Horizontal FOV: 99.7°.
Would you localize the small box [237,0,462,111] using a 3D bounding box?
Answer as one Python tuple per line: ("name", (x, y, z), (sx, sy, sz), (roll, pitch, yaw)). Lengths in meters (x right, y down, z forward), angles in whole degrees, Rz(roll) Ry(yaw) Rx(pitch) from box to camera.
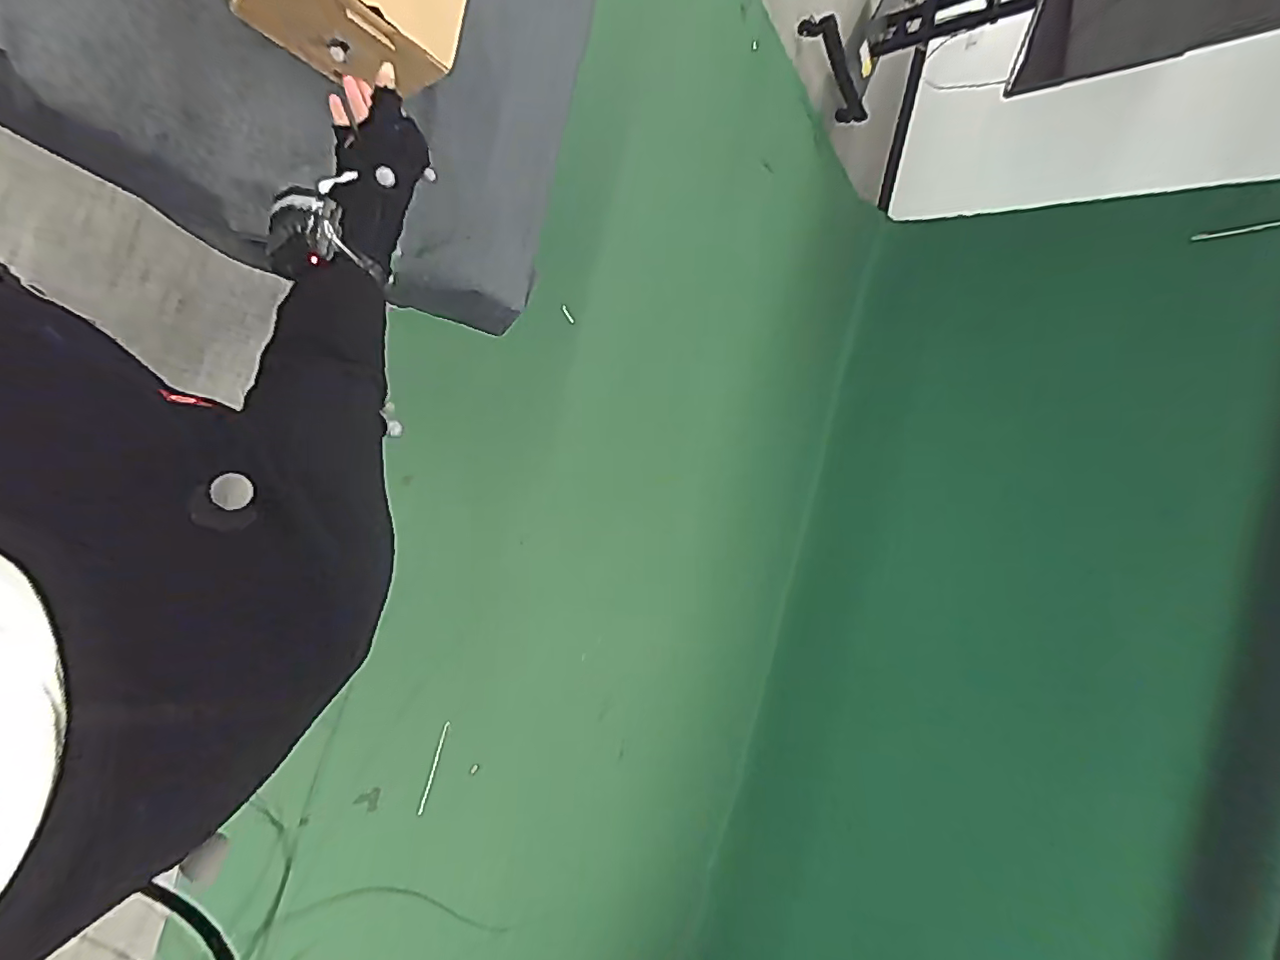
("small box", (-0.309, -0.546, 0.584), (0.168, 0.176, 0.179), (11, 91, -51))
